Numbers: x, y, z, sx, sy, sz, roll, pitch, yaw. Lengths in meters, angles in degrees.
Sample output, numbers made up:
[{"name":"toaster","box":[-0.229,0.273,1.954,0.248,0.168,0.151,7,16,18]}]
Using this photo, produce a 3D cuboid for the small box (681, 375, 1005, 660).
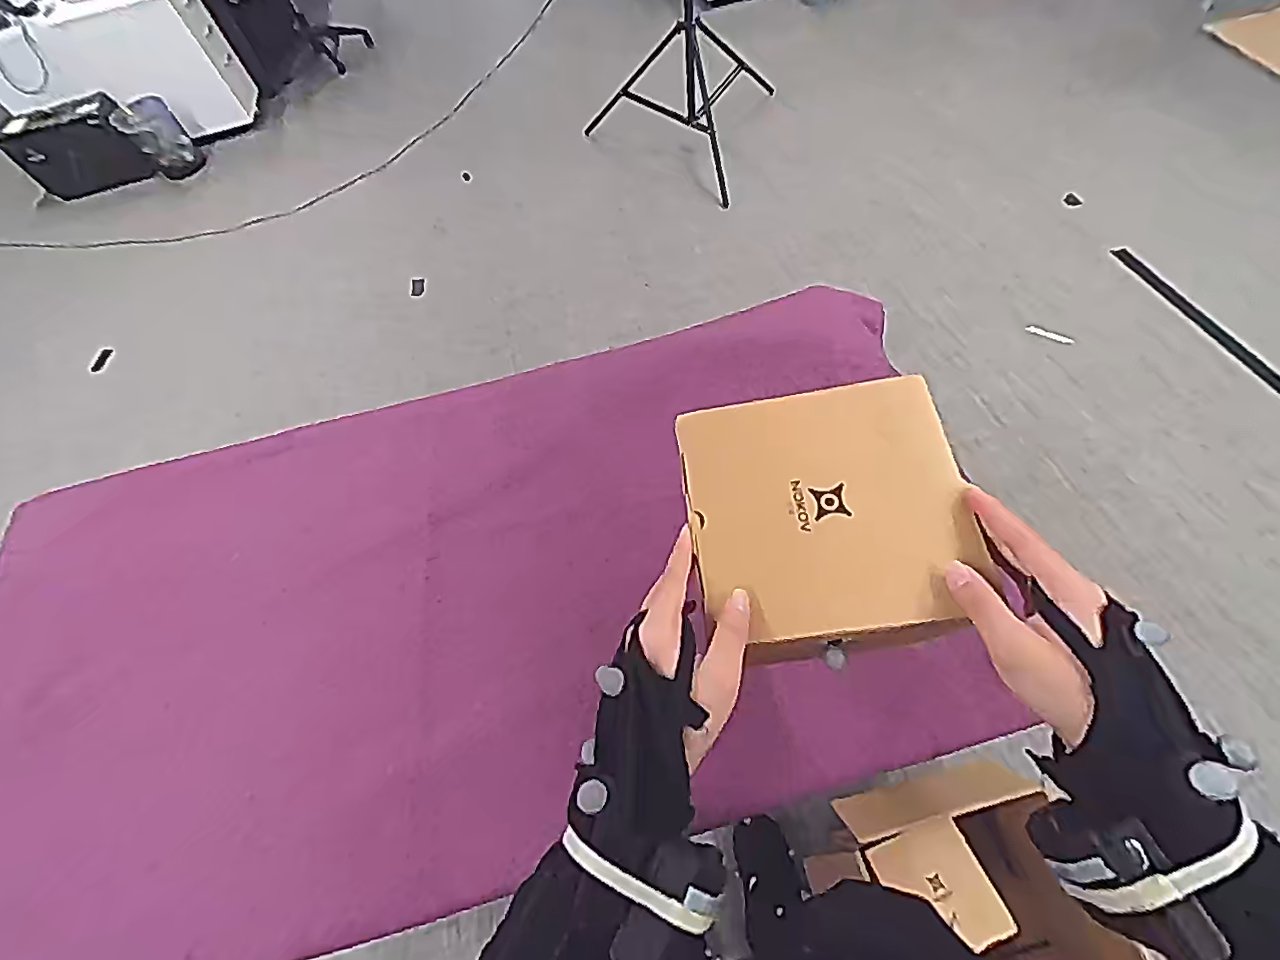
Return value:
[{"name":"small box","box":[0.133,0.043,0.425,0.179,0.176,0.168,-9,66,7]}]
